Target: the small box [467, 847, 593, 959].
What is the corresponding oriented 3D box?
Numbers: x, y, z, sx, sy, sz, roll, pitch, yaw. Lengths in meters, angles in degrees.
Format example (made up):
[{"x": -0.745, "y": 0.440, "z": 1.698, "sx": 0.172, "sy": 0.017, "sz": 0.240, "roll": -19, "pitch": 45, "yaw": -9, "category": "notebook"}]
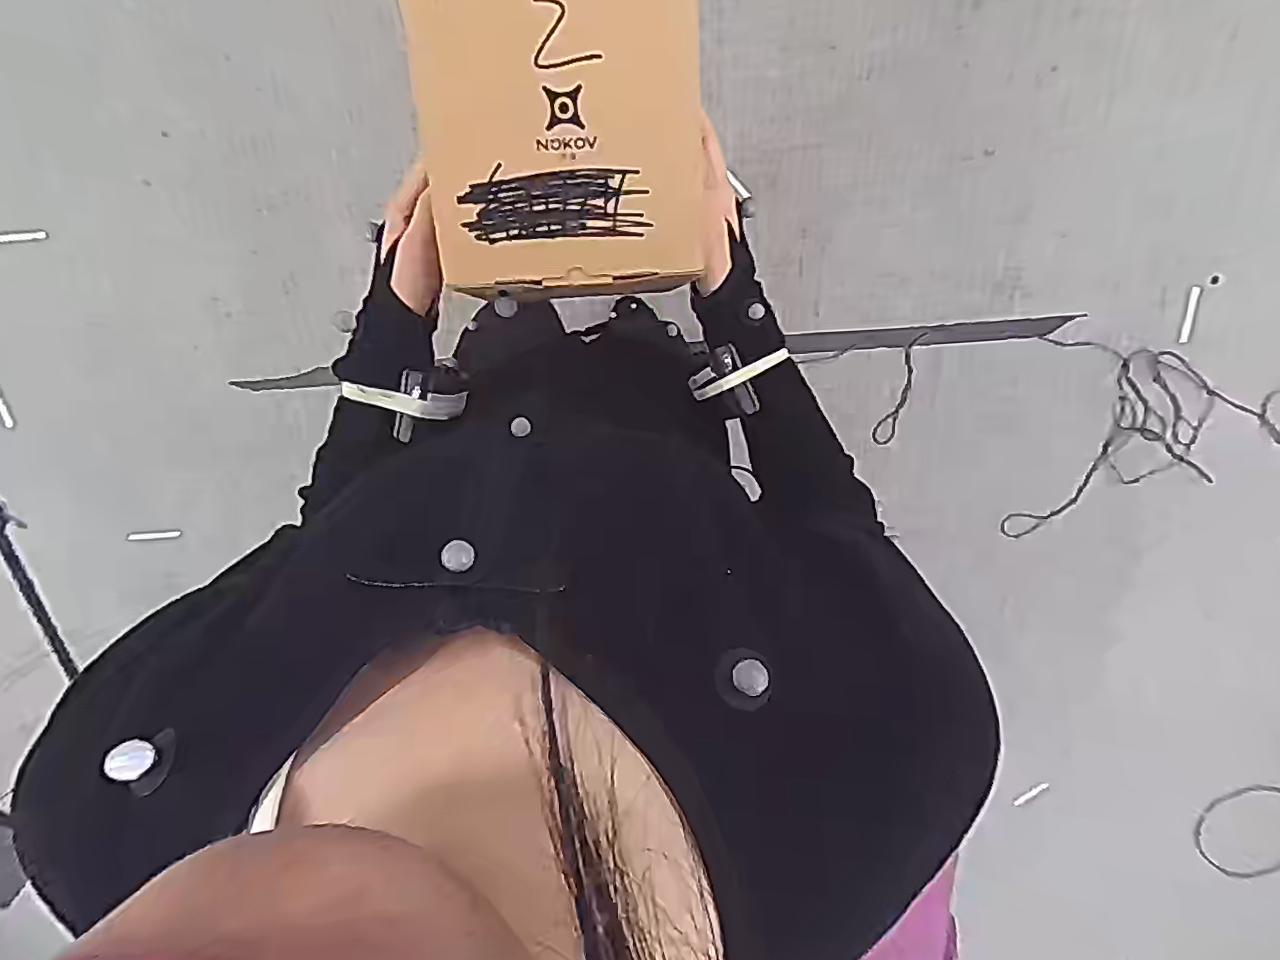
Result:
[{"x": -0.174, "y": 0.759, "z": 0.921, "sx": 0.179, "sy": 0.176, "sz": 0.168, "roll": -2, "pitch": 108, "yaw": 1, "category": "small box"}]
